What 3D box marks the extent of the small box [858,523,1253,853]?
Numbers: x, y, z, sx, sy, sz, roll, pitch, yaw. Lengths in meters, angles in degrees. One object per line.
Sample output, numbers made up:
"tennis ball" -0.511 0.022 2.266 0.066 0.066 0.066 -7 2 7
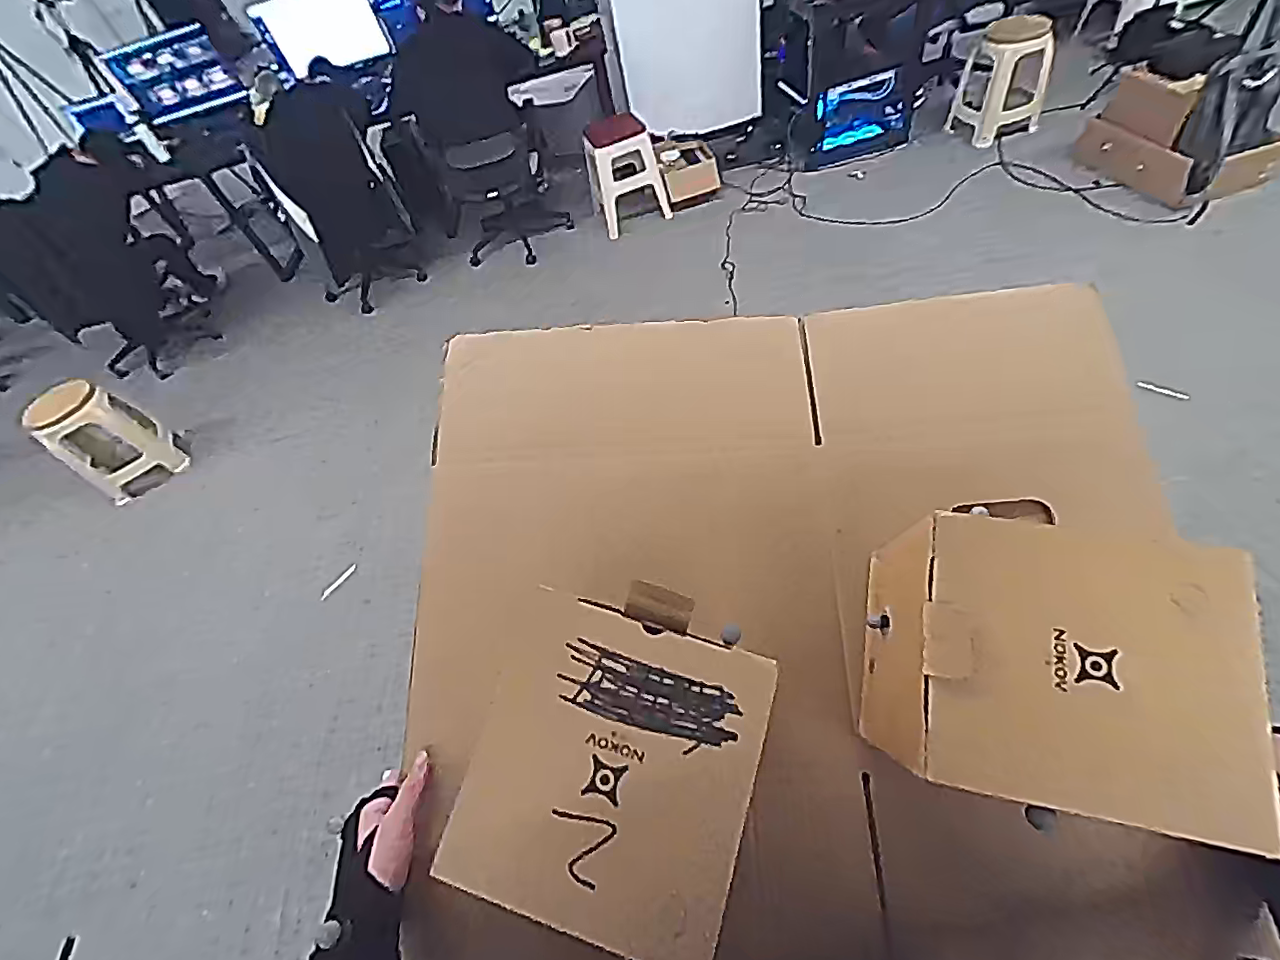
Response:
"small box" 0.278 0.138 0.407 0.179 0.176 0.168 7 75 13
